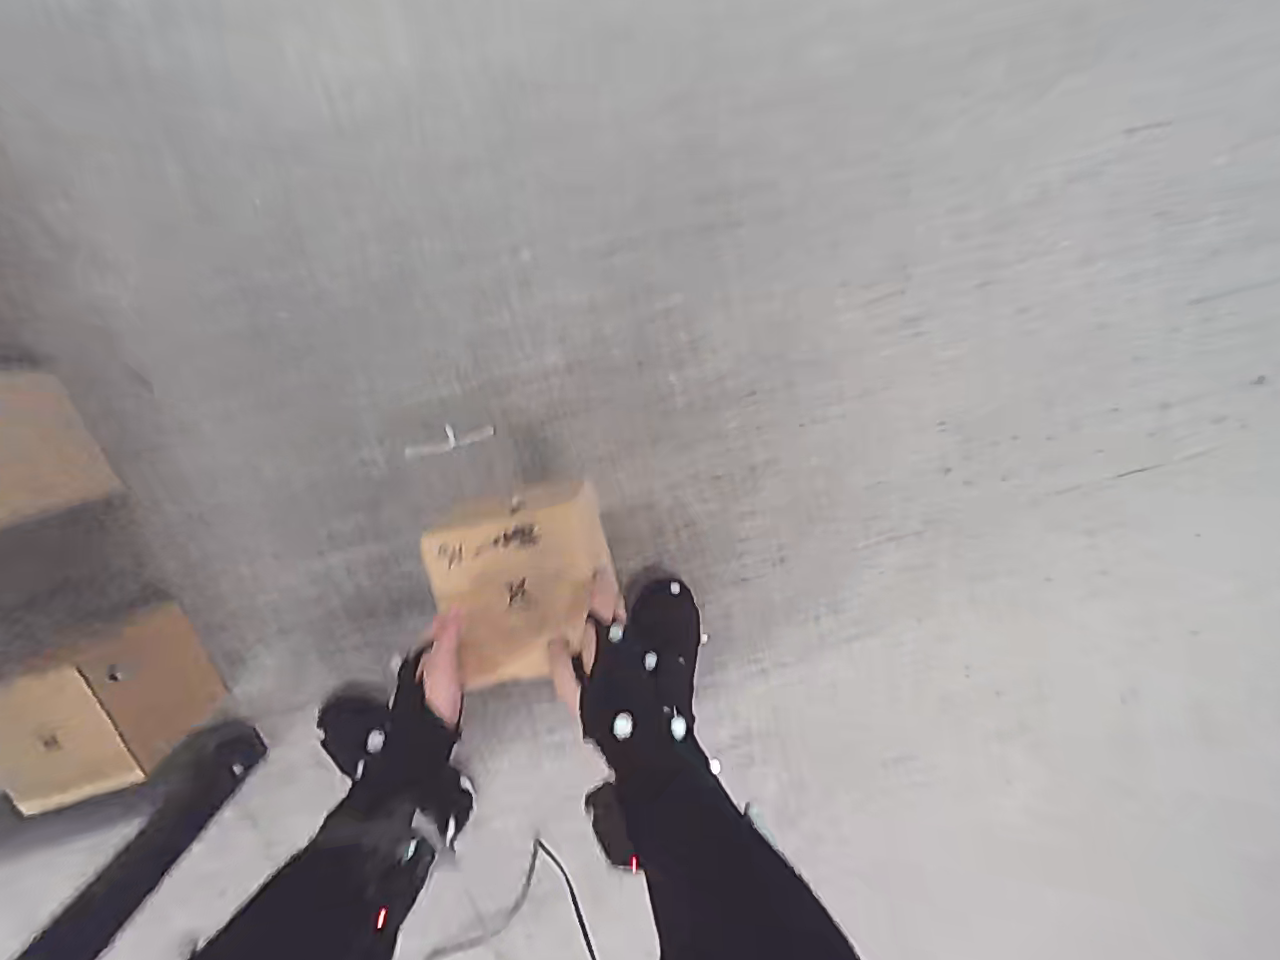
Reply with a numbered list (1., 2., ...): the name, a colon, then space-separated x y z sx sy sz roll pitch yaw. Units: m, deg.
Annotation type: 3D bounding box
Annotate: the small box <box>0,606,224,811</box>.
1. small box: -0.737 0.306 0.751 0.168 0.176 0.179 -17 103 0
